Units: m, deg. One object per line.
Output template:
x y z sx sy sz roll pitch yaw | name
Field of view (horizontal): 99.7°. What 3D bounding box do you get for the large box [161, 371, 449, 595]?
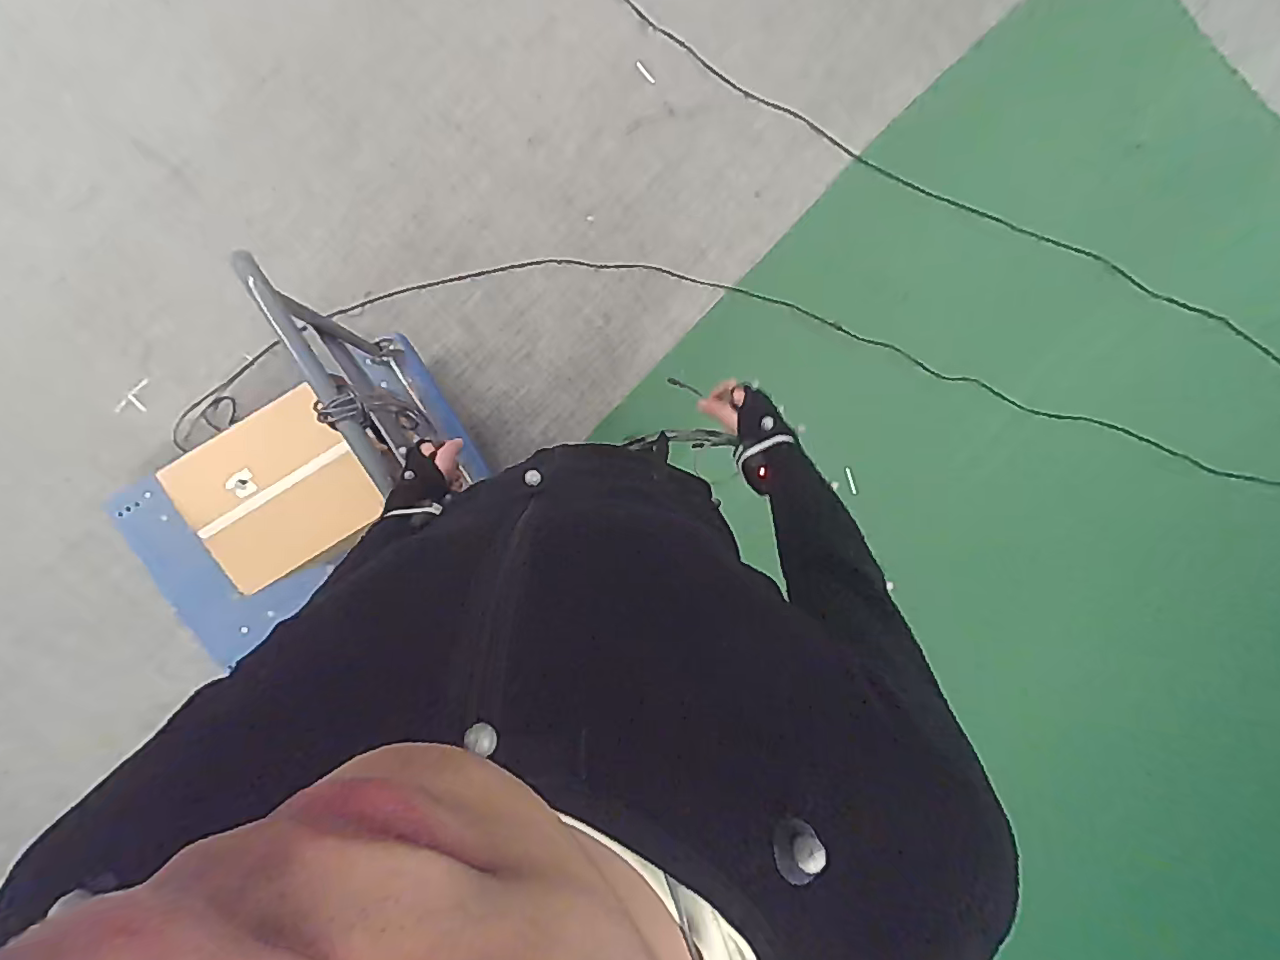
-0.733 -0.005 1.256 0.408 0.320 0.320 -31 95 0 | large box
